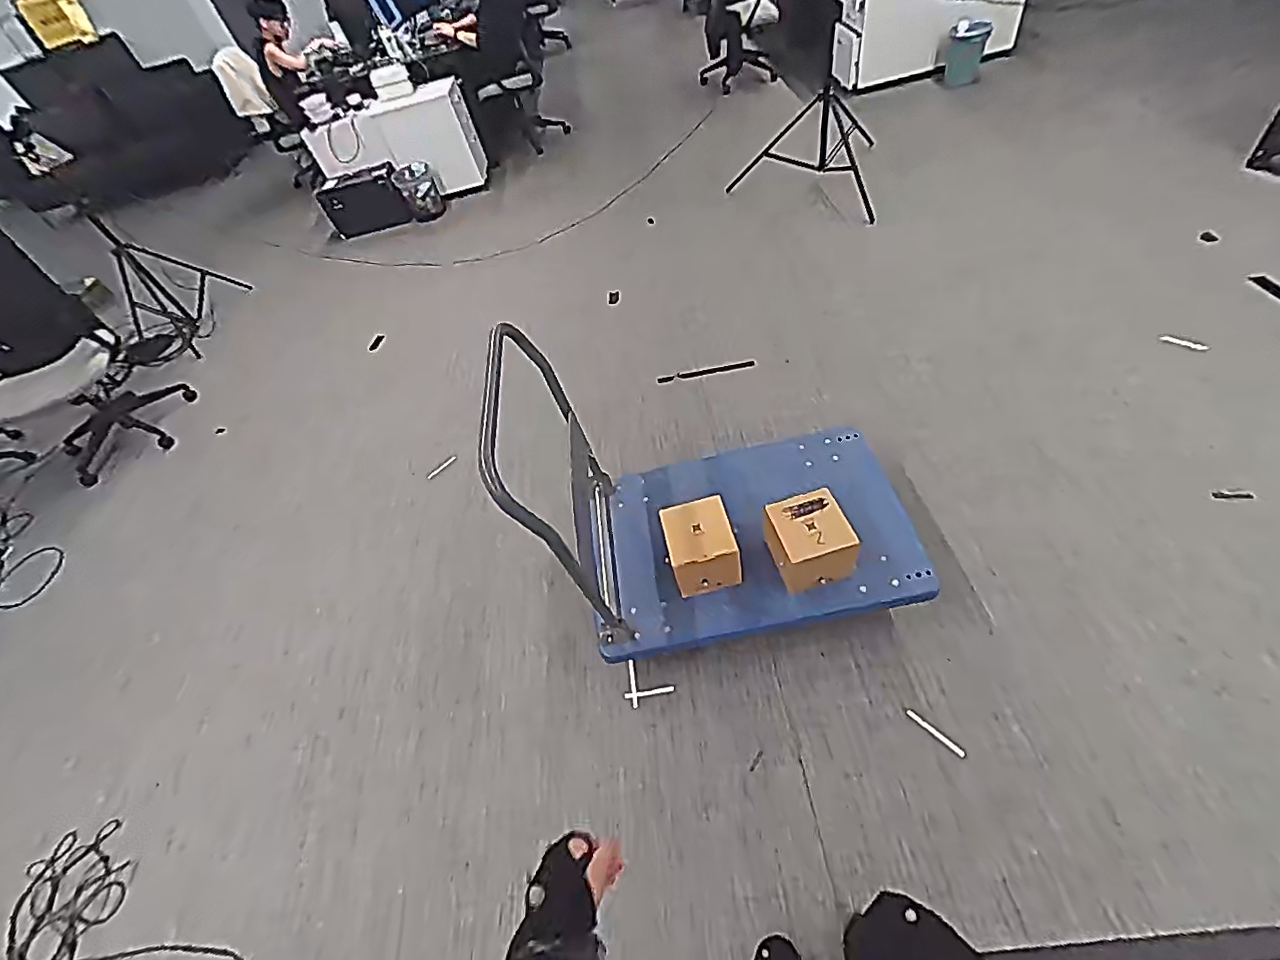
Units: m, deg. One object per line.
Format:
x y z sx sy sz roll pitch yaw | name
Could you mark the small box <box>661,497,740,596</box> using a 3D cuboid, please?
0.158 0.175 1.408 0.168 0.176 0.179 -15 50 2 | small box
